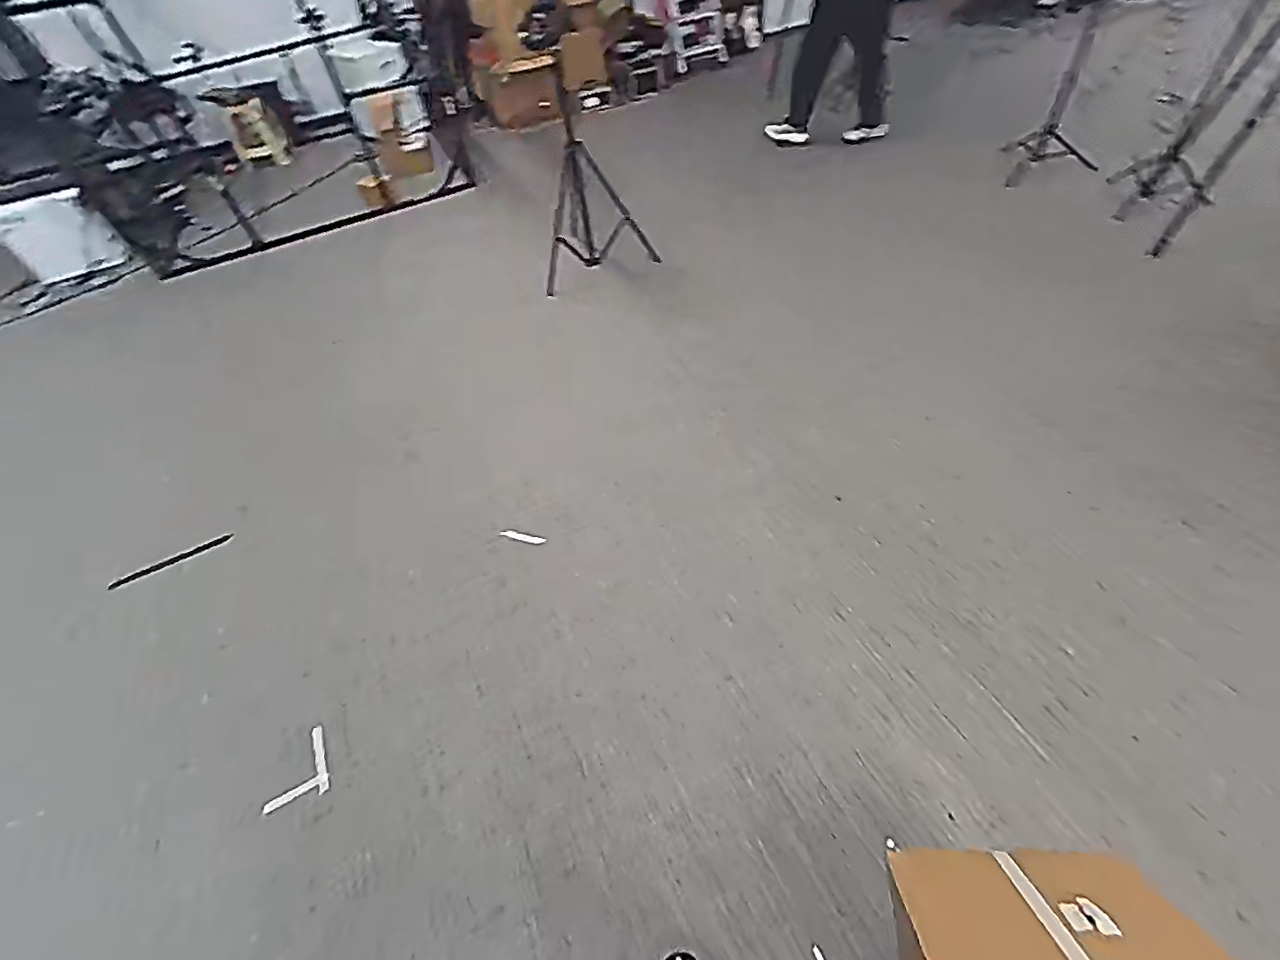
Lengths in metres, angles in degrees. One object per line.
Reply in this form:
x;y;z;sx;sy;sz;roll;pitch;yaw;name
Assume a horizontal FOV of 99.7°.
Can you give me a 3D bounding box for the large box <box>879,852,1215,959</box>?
0.494;0.688;0.589;0.320;0.408;0.320;-5;84;10;large box
